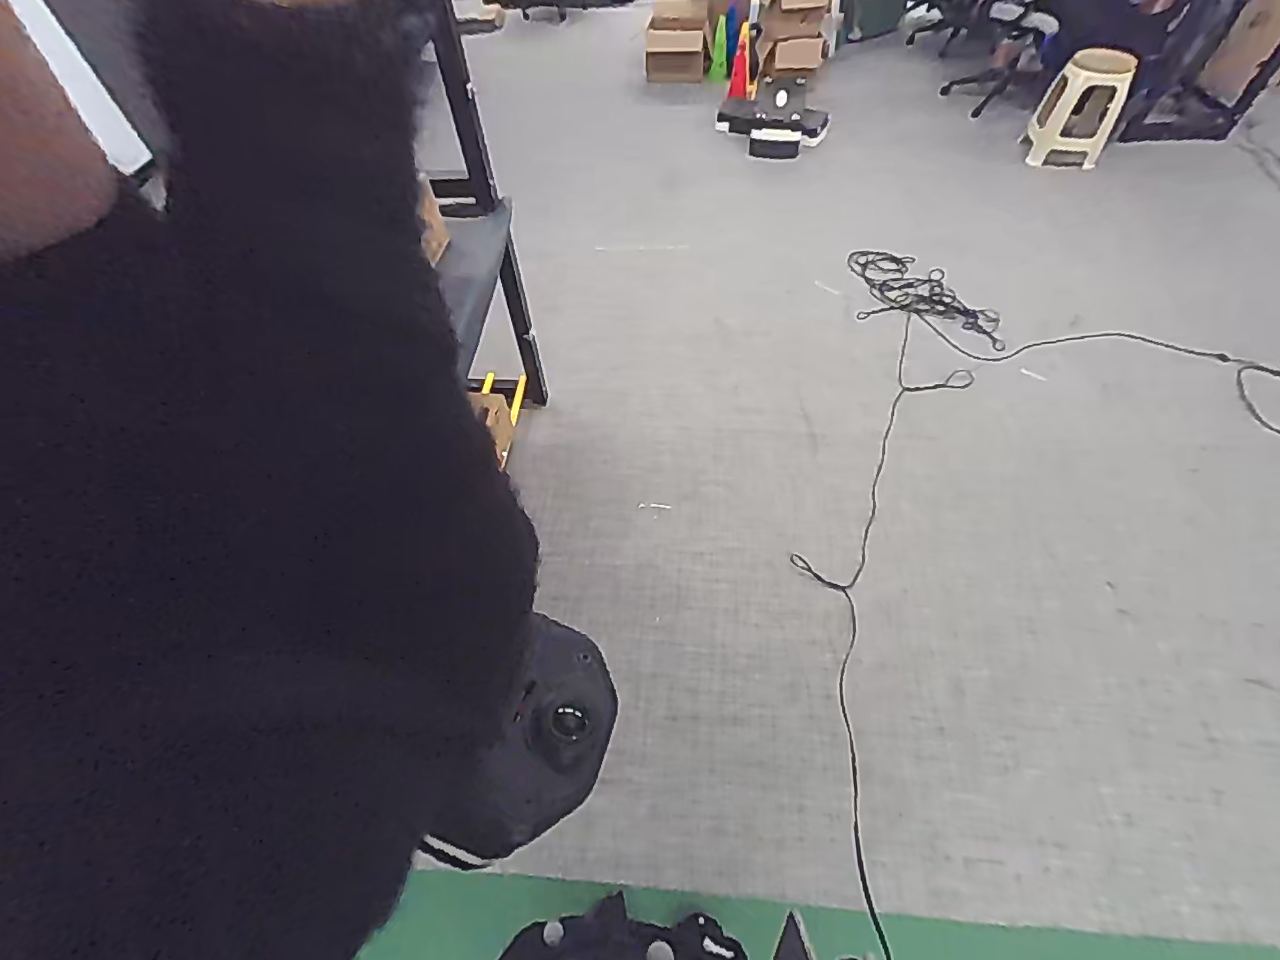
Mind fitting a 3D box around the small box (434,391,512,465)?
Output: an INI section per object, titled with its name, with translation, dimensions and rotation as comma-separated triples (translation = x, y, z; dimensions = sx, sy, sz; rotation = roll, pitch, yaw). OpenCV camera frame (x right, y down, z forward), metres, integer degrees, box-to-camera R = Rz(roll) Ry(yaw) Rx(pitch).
[small box]
translation = -0.525, -0.164, 1.732
dimensions = 0.179, 0.176, 0.168
rotation = 5, 53, 5
